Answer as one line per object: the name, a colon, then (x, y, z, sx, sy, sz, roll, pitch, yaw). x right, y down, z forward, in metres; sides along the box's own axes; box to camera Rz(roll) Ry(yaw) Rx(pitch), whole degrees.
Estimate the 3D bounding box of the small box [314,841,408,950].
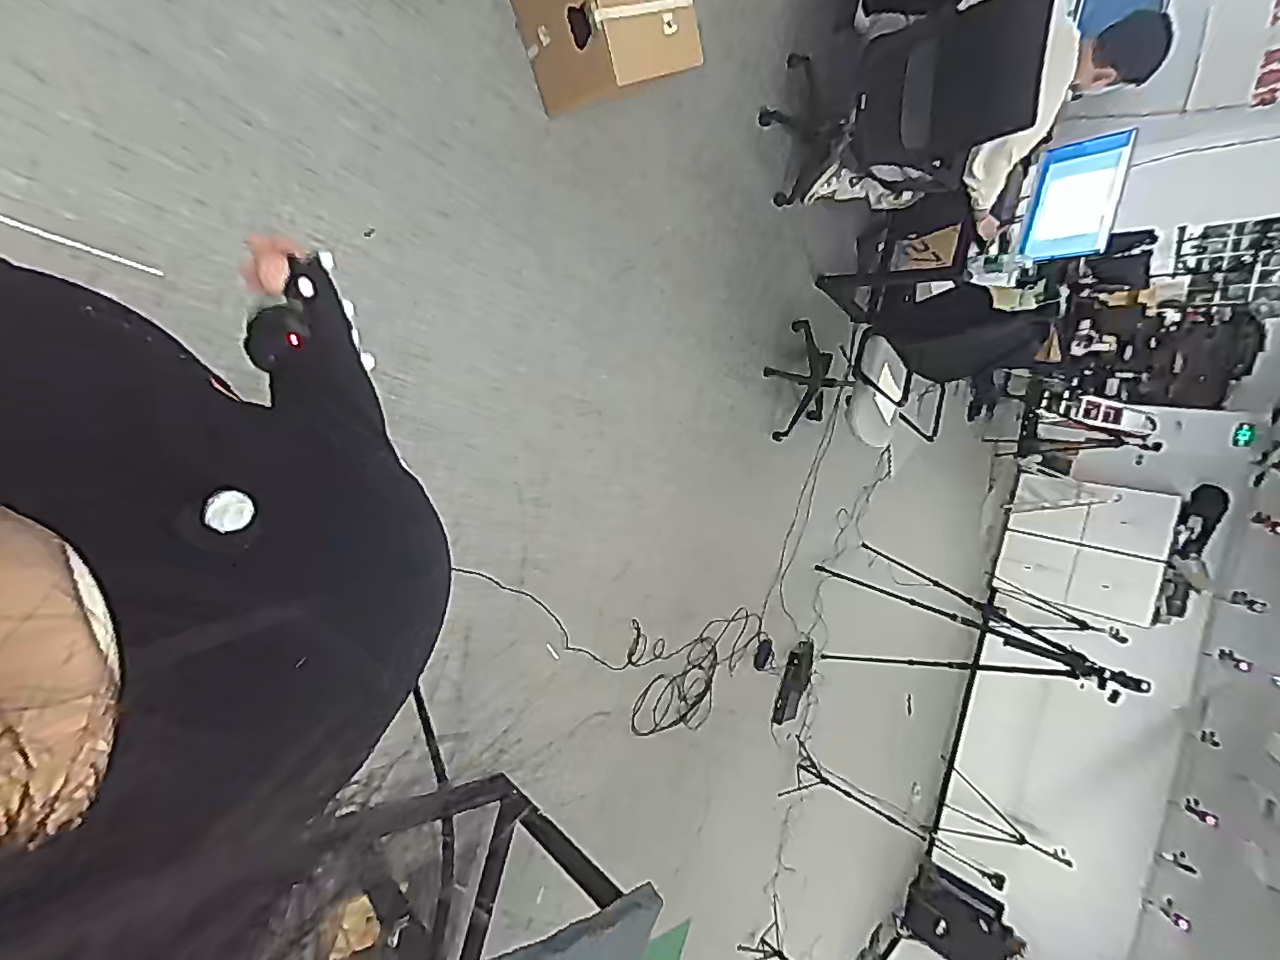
small box: (-0.822, 1.205, 1.583, 0.179, 0.176, 0.168, 21, 84, -48)
